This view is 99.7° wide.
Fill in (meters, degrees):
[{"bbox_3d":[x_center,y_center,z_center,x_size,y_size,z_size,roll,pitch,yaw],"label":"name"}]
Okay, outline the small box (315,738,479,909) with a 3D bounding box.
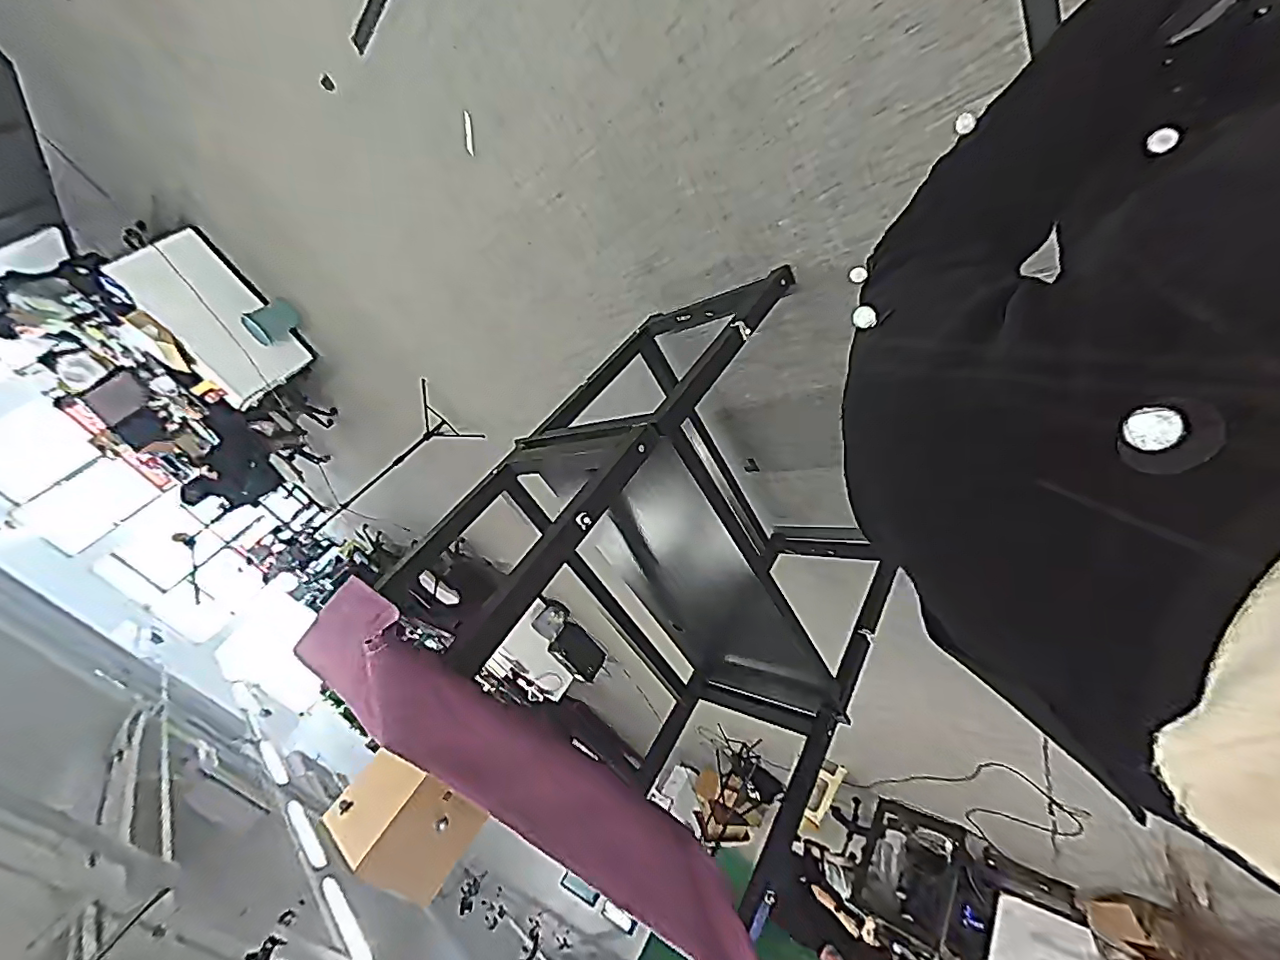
[{"bbox_3d":[-0.417,0.583,0.942,0.179,0.176,0.168,1,134,46],"label":"small box"}]
